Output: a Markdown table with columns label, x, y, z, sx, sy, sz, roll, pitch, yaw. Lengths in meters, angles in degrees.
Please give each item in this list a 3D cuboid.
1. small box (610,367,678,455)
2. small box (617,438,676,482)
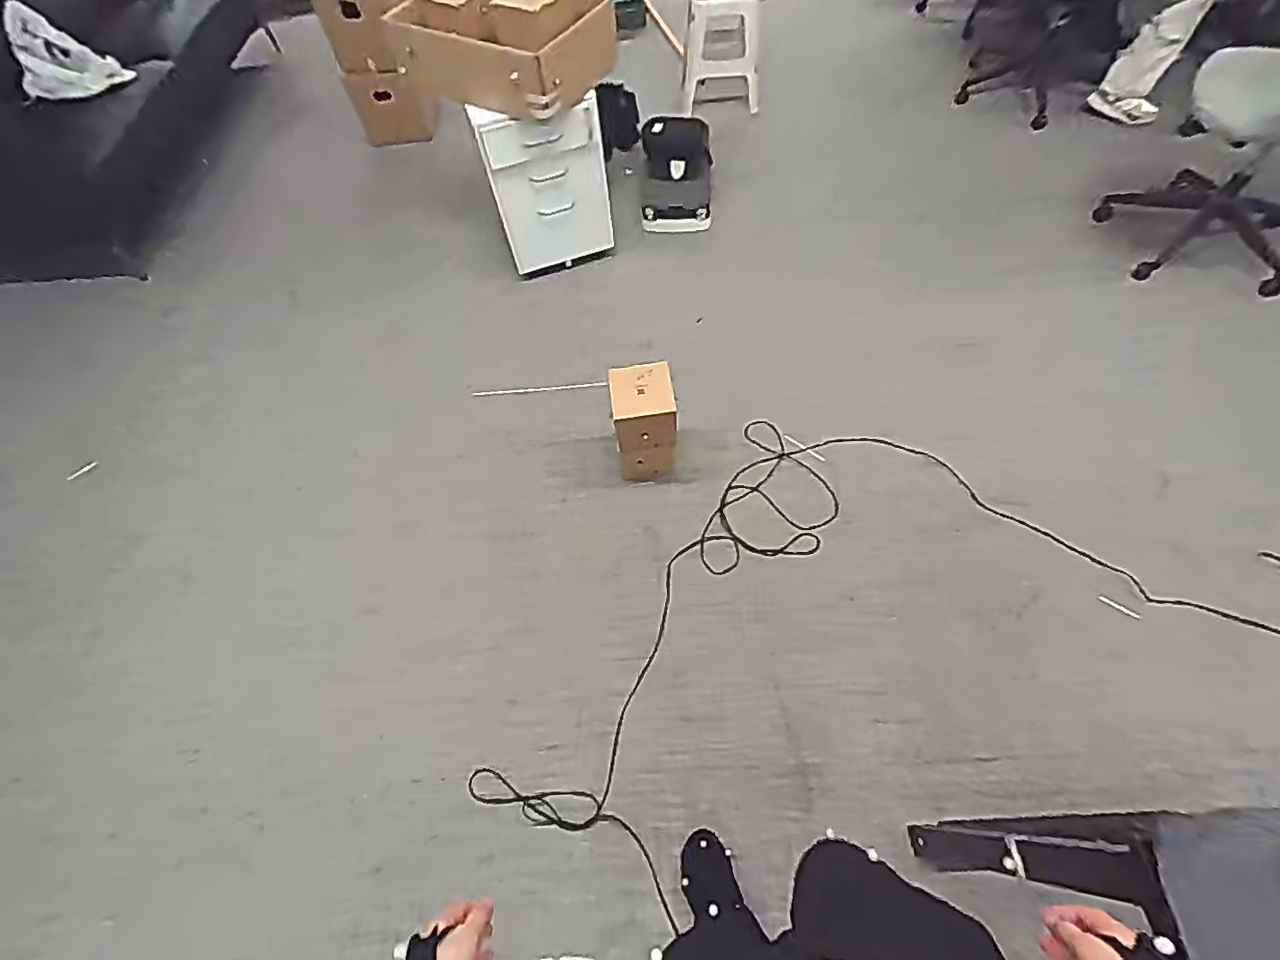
| label | x | y | z | sx | sy | sz | roll | pitch | yaw |
| --- | --- | --- | --- | --- | --- | --- | --- | --- | --- |
| small box | 0.013 | -0.184 | 1.507 | 0.168 | 0.176 | 0.179 | -8 | 58 | 0 |
| small box | 0.020 | -0.106 | 1.653 | 0.168 | 0.176 | 0.179 | -6 | 59 | 1 |
